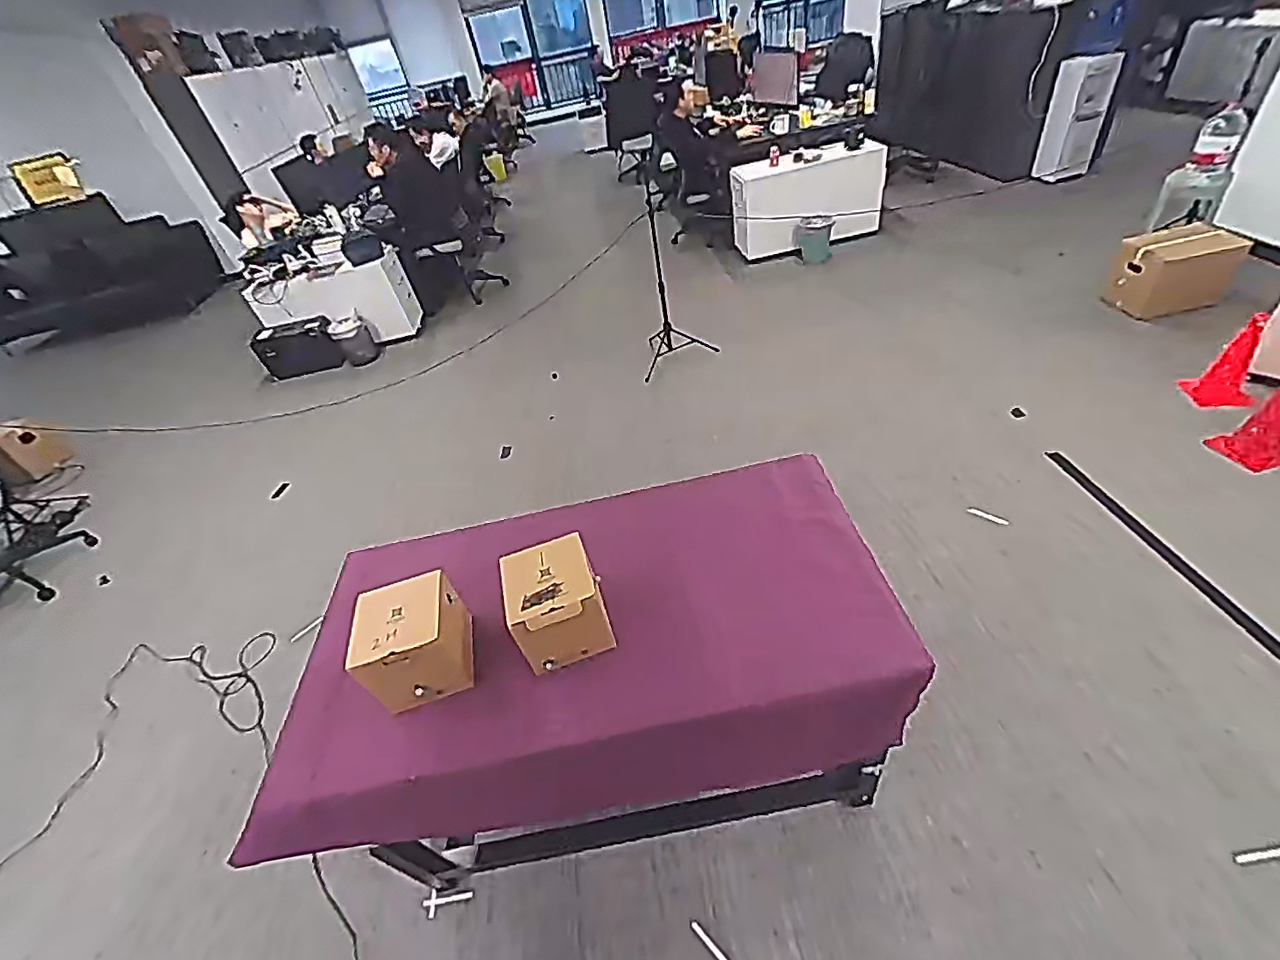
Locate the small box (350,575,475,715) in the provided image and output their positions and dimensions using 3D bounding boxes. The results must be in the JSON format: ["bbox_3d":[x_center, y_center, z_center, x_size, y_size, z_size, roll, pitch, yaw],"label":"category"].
[{"bbox_3d":[-0.433,0.322,1.058,0.168,0.176,0.179,-18,41,-5],"label":"small box"}]

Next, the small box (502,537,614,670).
[{"bbox_3d":[-0.160,0.250,1.067,0.168,0.176,0.179,-19,40,-6],"label":"small box"}]
